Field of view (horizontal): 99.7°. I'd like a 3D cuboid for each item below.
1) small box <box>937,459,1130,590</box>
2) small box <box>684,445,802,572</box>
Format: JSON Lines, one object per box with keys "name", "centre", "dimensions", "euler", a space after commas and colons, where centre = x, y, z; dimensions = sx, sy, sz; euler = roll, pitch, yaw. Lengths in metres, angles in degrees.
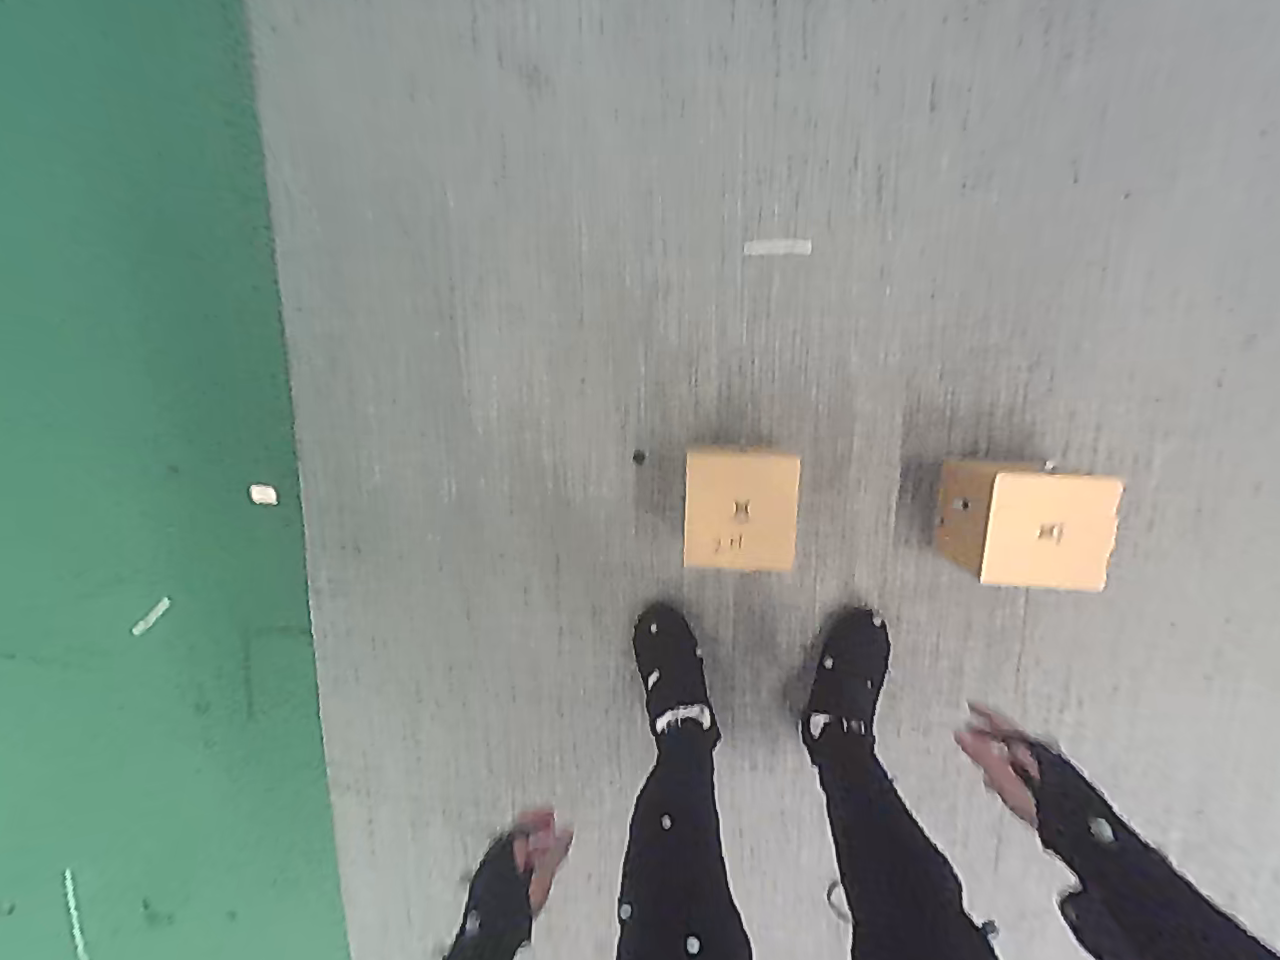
{"name": "small box", "centre": [0.589, 0.060, 0.838], "dimensions": [0.179, 0.176, 0.168], "euler": [3, 99, 4]}
{"name": "small box", "centre": [0.156, 0.036, 0.871], "dimensions": [0.168, 0.176, 0.179], "euler": [2, 99, 5]}
